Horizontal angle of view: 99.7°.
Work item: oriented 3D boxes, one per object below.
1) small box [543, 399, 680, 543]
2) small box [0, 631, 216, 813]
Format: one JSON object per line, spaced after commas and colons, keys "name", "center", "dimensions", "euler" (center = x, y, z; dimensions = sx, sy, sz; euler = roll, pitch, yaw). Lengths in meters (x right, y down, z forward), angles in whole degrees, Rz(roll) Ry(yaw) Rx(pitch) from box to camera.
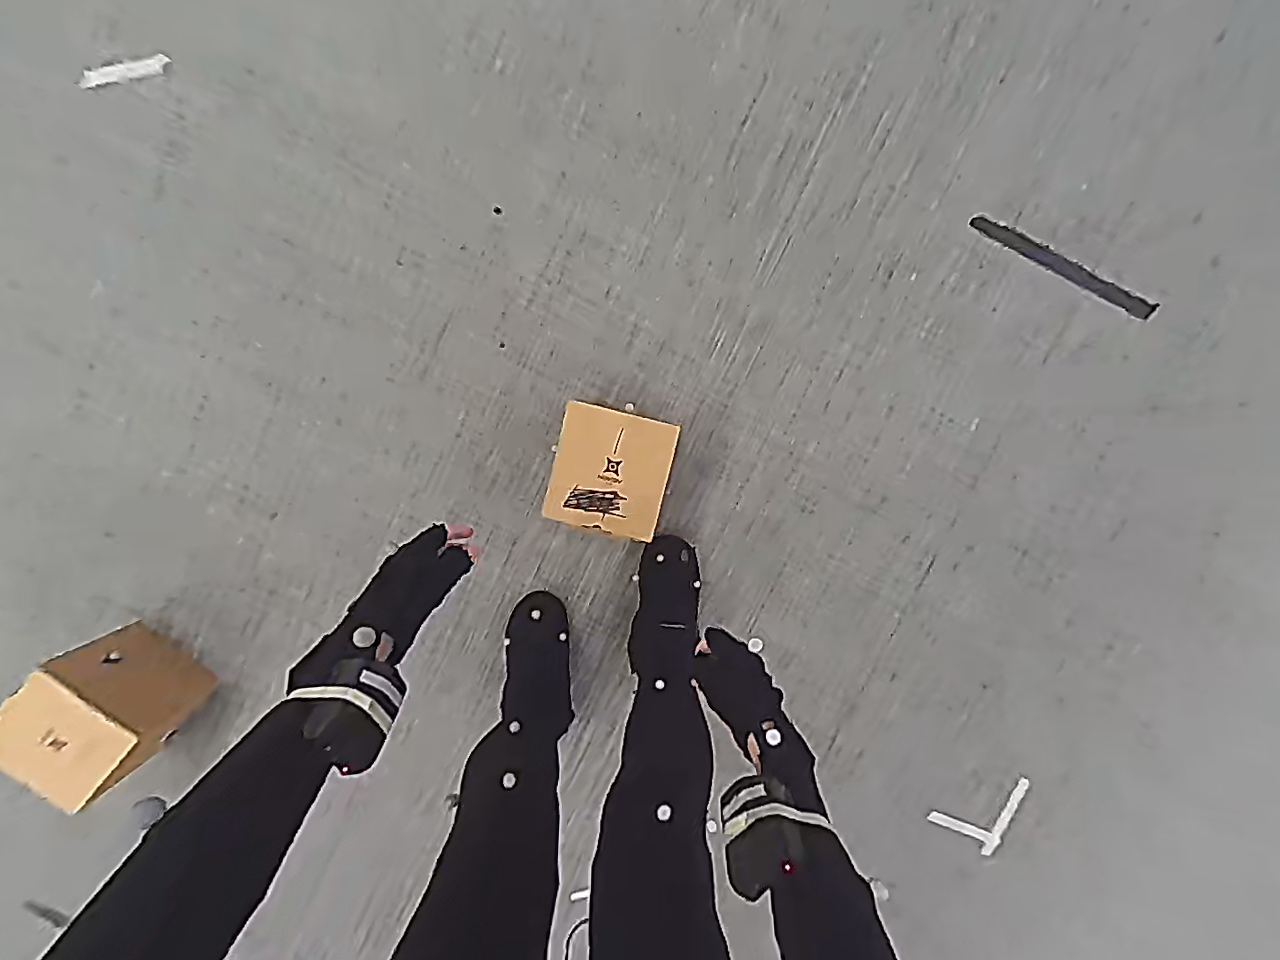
{"name": "small box", "center": [-0.044, -0.020, 0.851], "dimensions": [0.168, 0.176, 0.179], "euler": [14, 95, -4]}
{"name": "small box", "center": [-0.847, 0.367, 0.860], "dimensions": [0.179, 0.176, 0.168], "euler": [41, 95, -7]}
